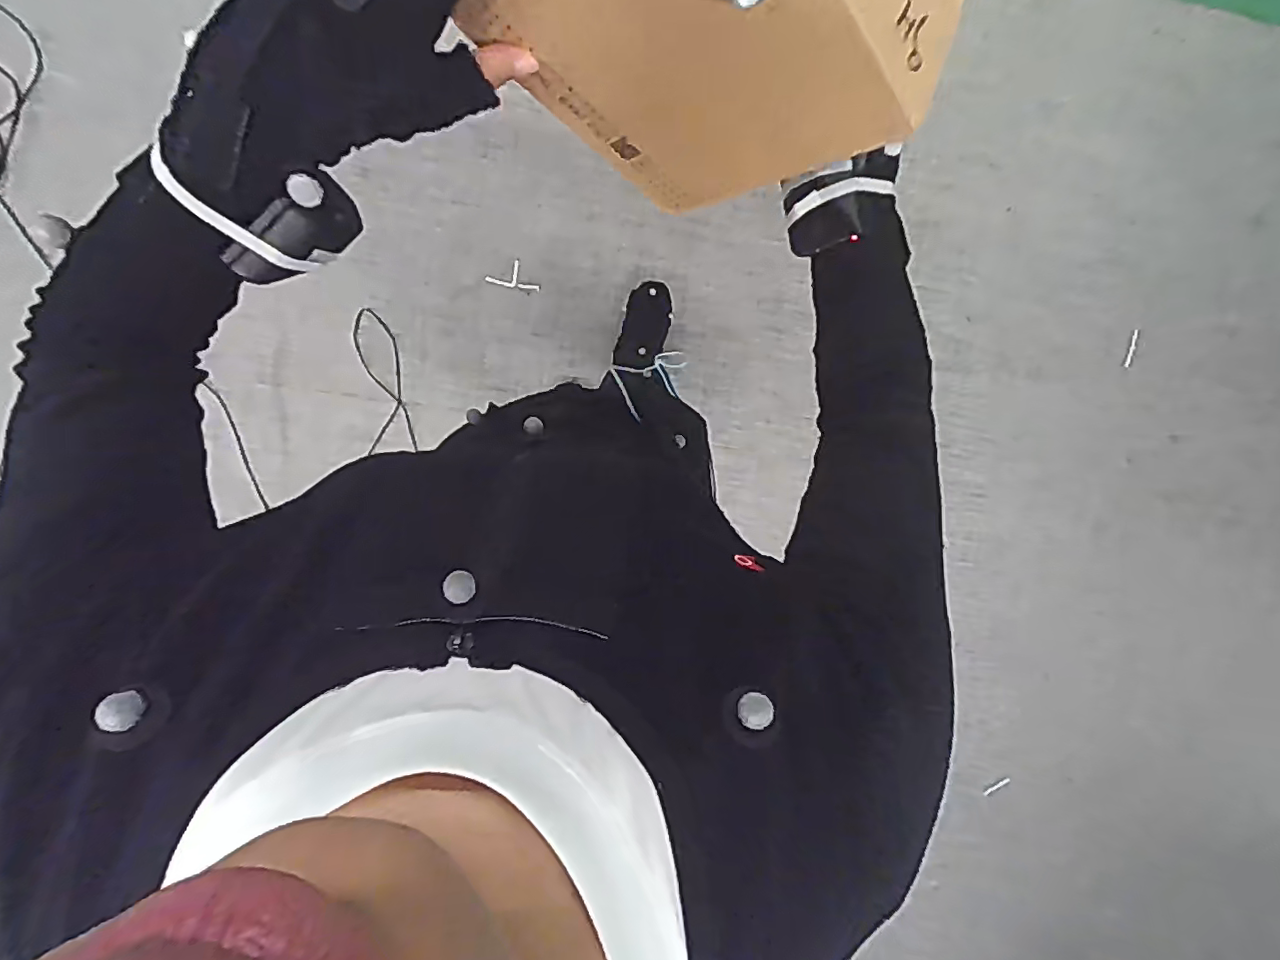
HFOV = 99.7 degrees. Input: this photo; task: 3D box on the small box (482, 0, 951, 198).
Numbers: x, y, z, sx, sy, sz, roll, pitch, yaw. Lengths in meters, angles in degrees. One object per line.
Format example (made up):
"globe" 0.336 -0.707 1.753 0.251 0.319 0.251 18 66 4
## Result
"small box" 0.044 -0.282 0.269 0.168 0.176 0.179 21 84 -41
